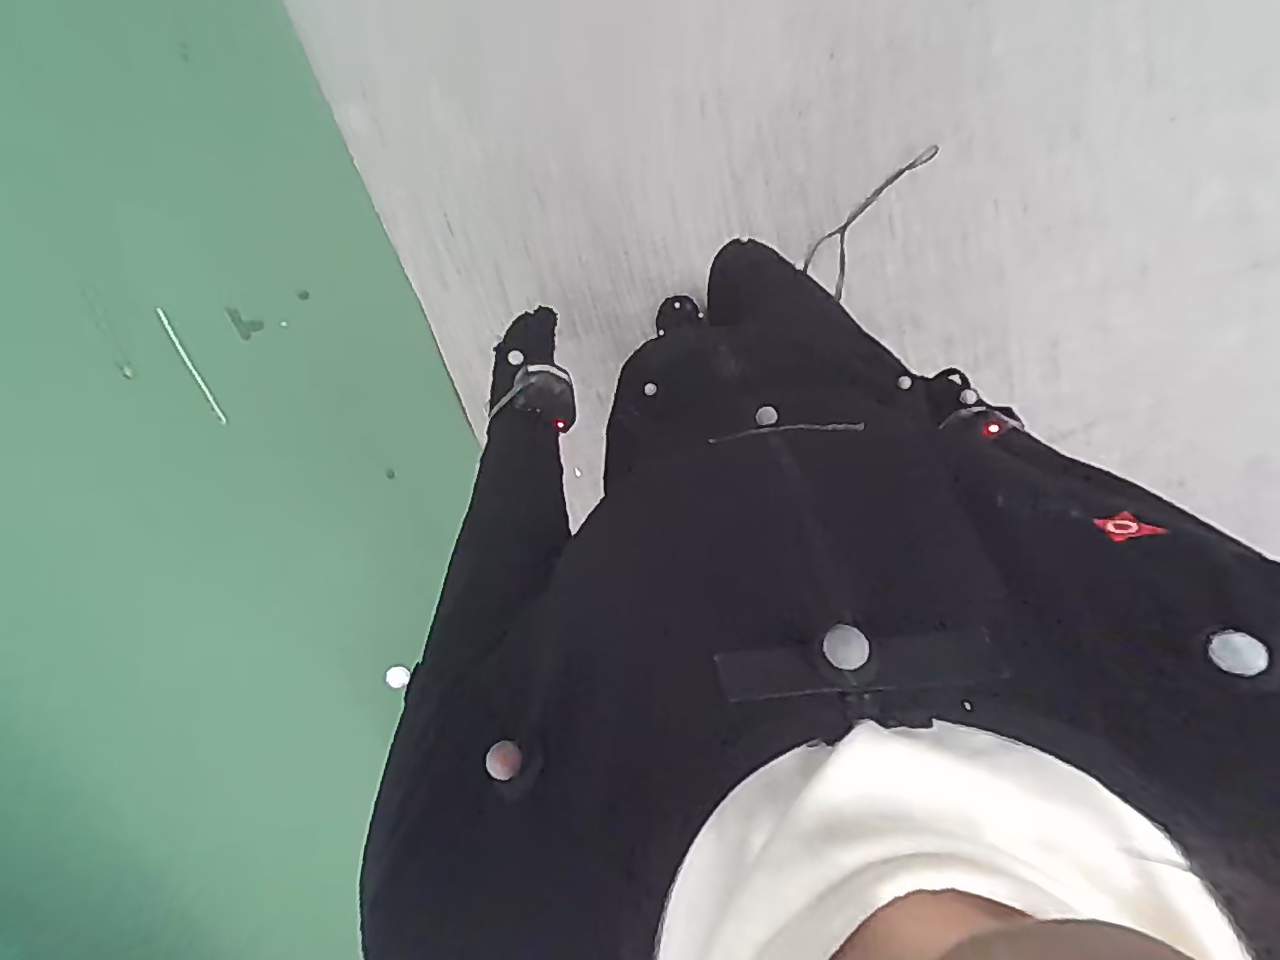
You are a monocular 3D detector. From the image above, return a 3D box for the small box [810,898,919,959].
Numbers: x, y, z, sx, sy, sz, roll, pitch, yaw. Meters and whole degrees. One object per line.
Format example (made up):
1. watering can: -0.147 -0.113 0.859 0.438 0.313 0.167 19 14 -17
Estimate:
1. small box: 0.415 0.893 0.965 0.179 0.176 0.168 -18 110 12
